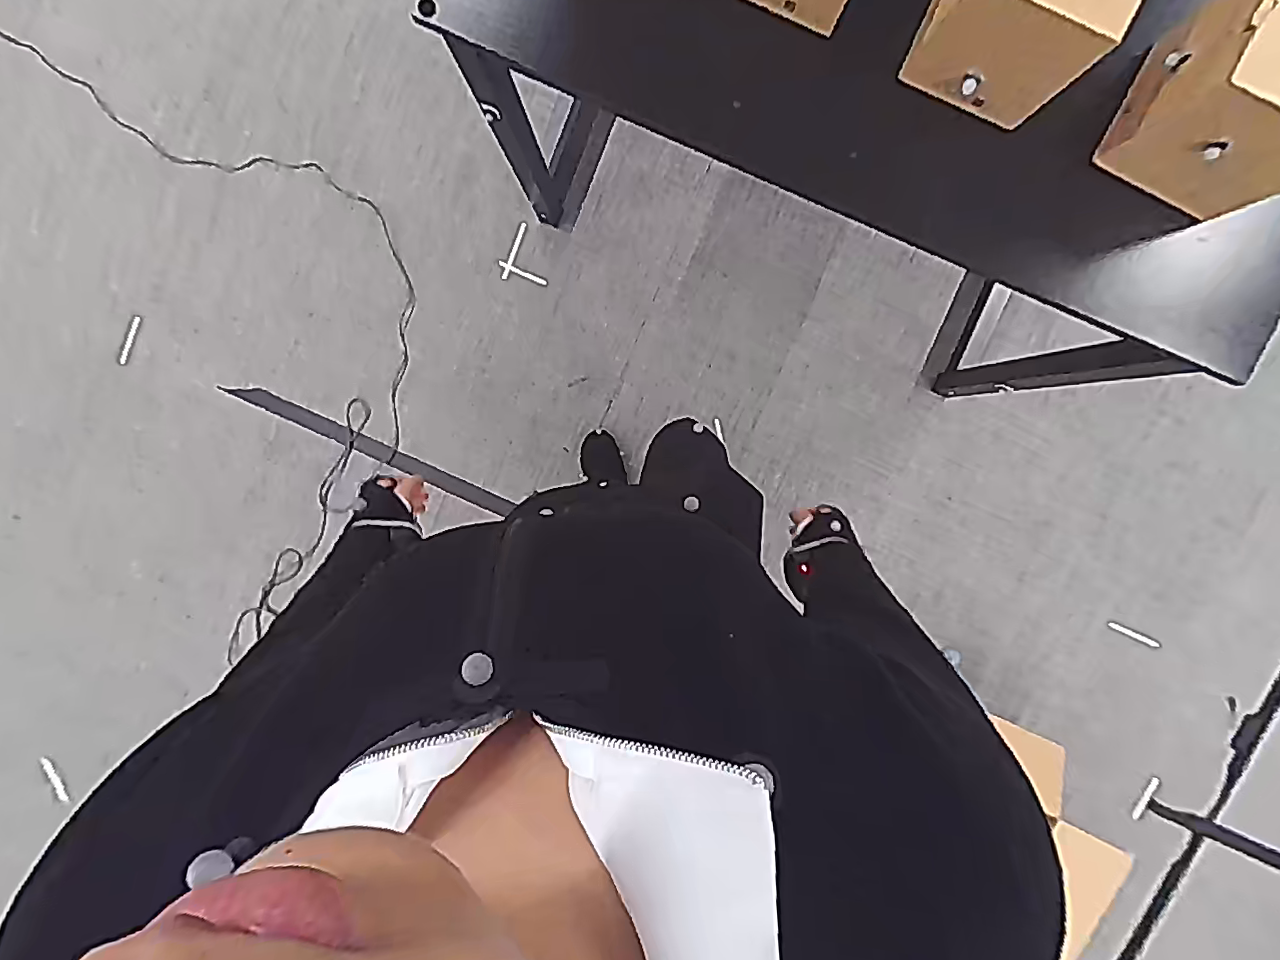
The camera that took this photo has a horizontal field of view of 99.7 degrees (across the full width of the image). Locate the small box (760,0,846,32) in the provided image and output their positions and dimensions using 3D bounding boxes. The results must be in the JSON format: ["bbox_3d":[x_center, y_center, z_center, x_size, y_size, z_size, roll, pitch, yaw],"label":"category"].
[{"bbox_3d":[0.199,-0.667,0.604,0.168,0.176,0.179,24,95,-2],"label":"small box"}]

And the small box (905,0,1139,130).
[{"bbox_3d":[0.438,-0.553,0.613,0.168,0.176,0.179,24,96,-2],"label":"small box"}]

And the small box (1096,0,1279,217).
[{"bbox_3d":[0.695,-0.437,0.621,0.179,0.176,0.168,26,95,-1],"label":"small box"}]
